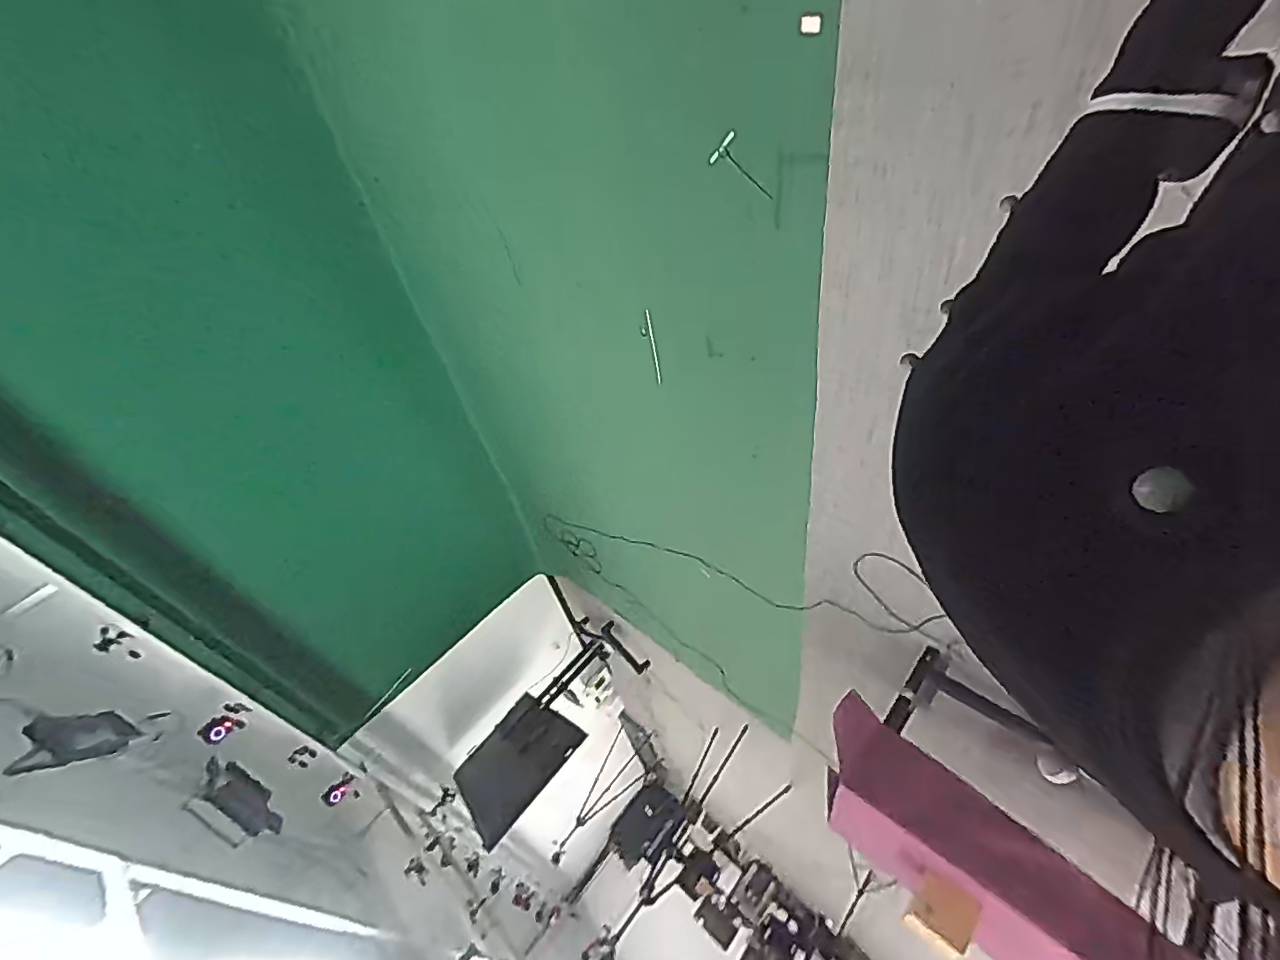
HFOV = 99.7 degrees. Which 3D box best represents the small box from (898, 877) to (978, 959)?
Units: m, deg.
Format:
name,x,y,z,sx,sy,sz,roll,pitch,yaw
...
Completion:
name,x,y,z,sx,sy,sz,roll,pitch,yaw
small box,1.044,1.536,1.896,0.179,0.176,0.168,29,148,34
